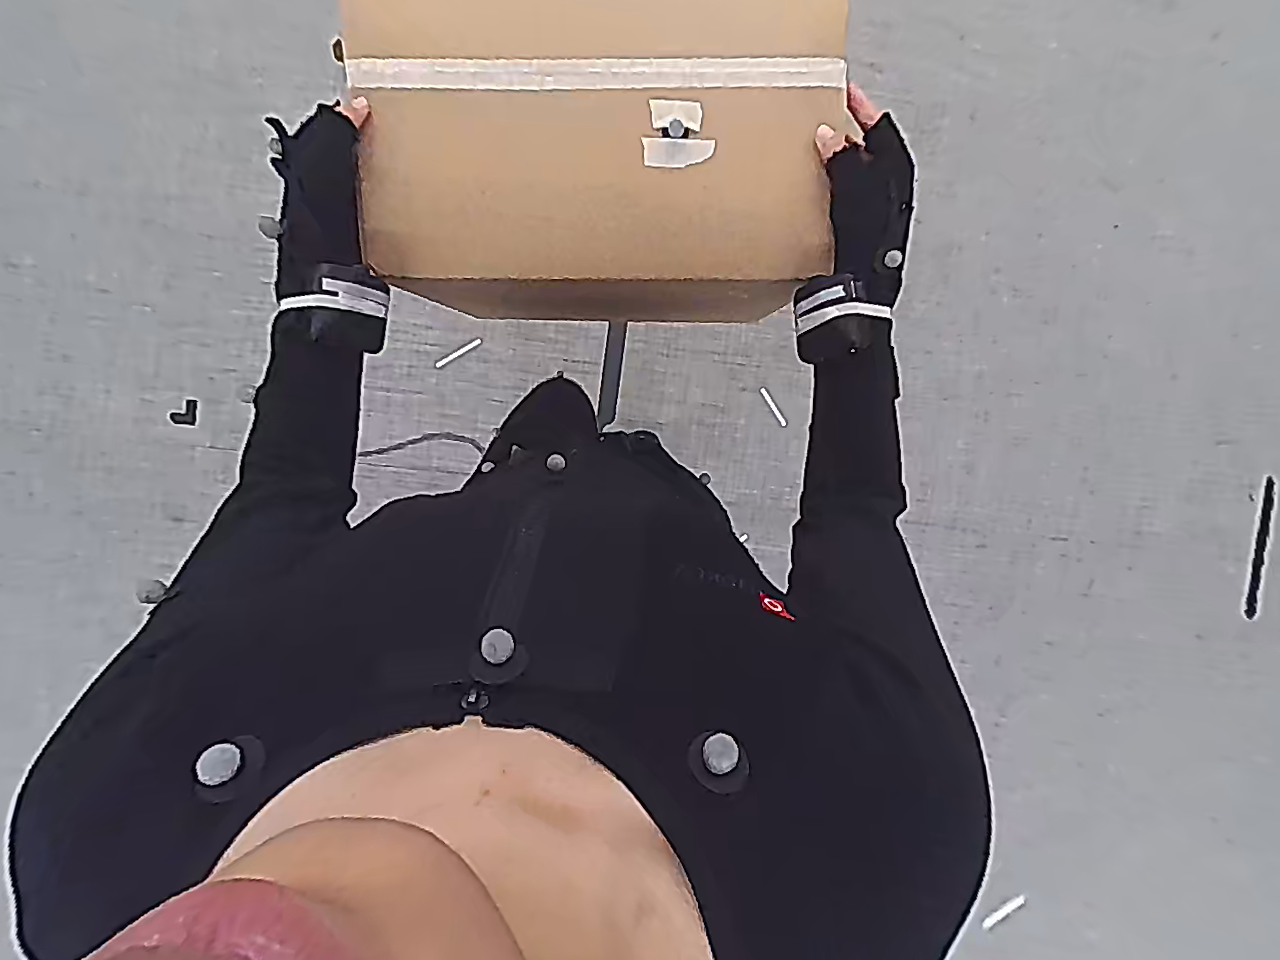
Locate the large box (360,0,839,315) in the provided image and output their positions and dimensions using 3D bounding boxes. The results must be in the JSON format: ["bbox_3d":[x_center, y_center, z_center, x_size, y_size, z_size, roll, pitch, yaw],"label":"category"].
[{"bbox_3d":[-0.035,-0.366,0.602,0.408,0.320,0.320,0,101,0],"label":"large box"}]
